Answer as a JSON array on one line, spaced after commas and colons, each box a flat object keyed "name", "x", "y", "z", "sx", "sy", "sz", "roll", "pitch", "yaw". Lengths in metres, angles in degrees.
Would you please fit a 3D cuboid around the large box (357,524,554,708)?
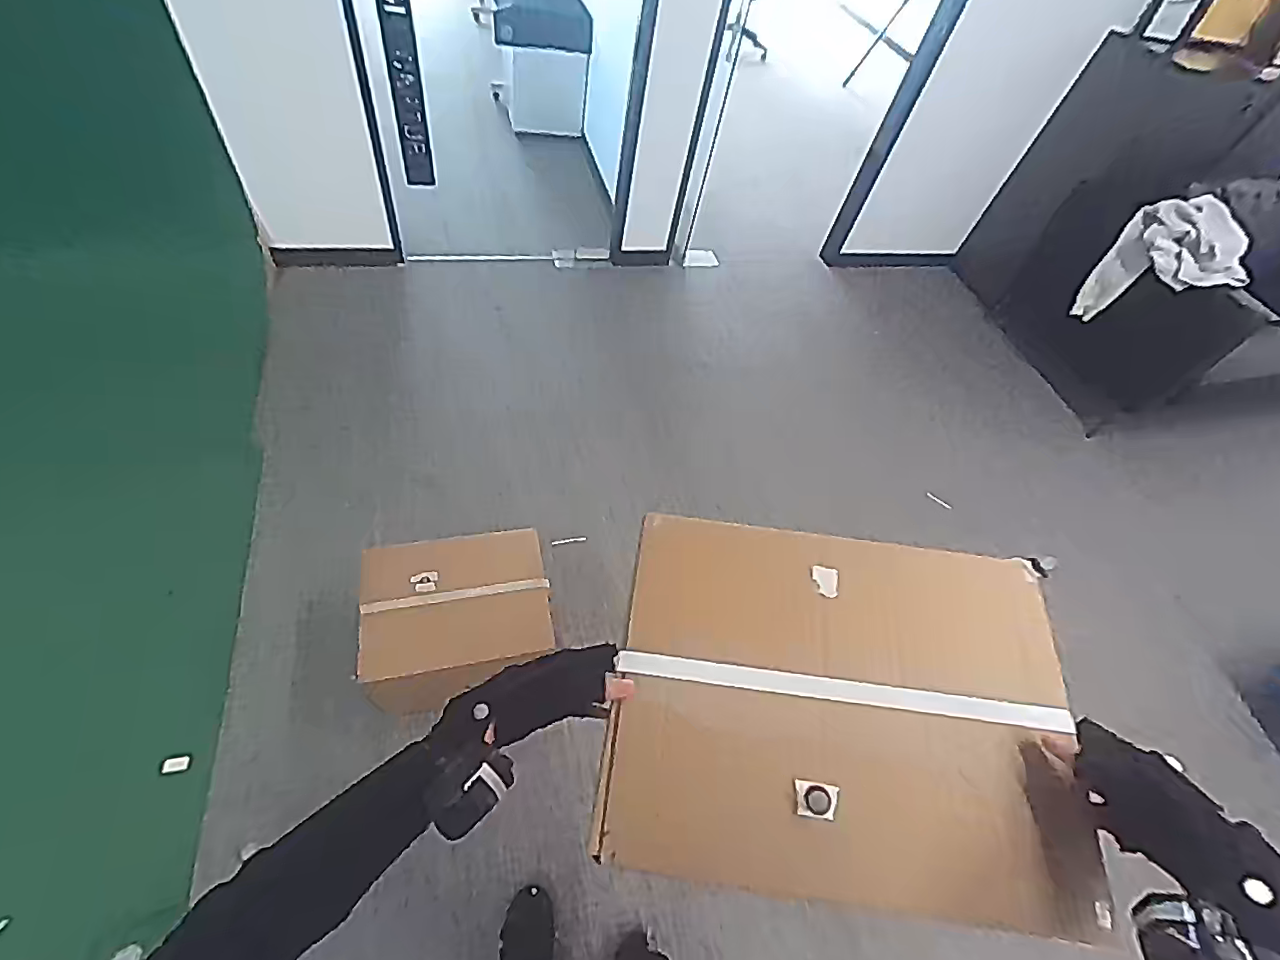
[{"name": "large box", "x": -0.440, "y": 0.339, "z": 1.342, "sx": 0.408, "sy": 0.320, "sz": 0.320, "roll": -6, "pitch": 56, "yaw": -15}]
